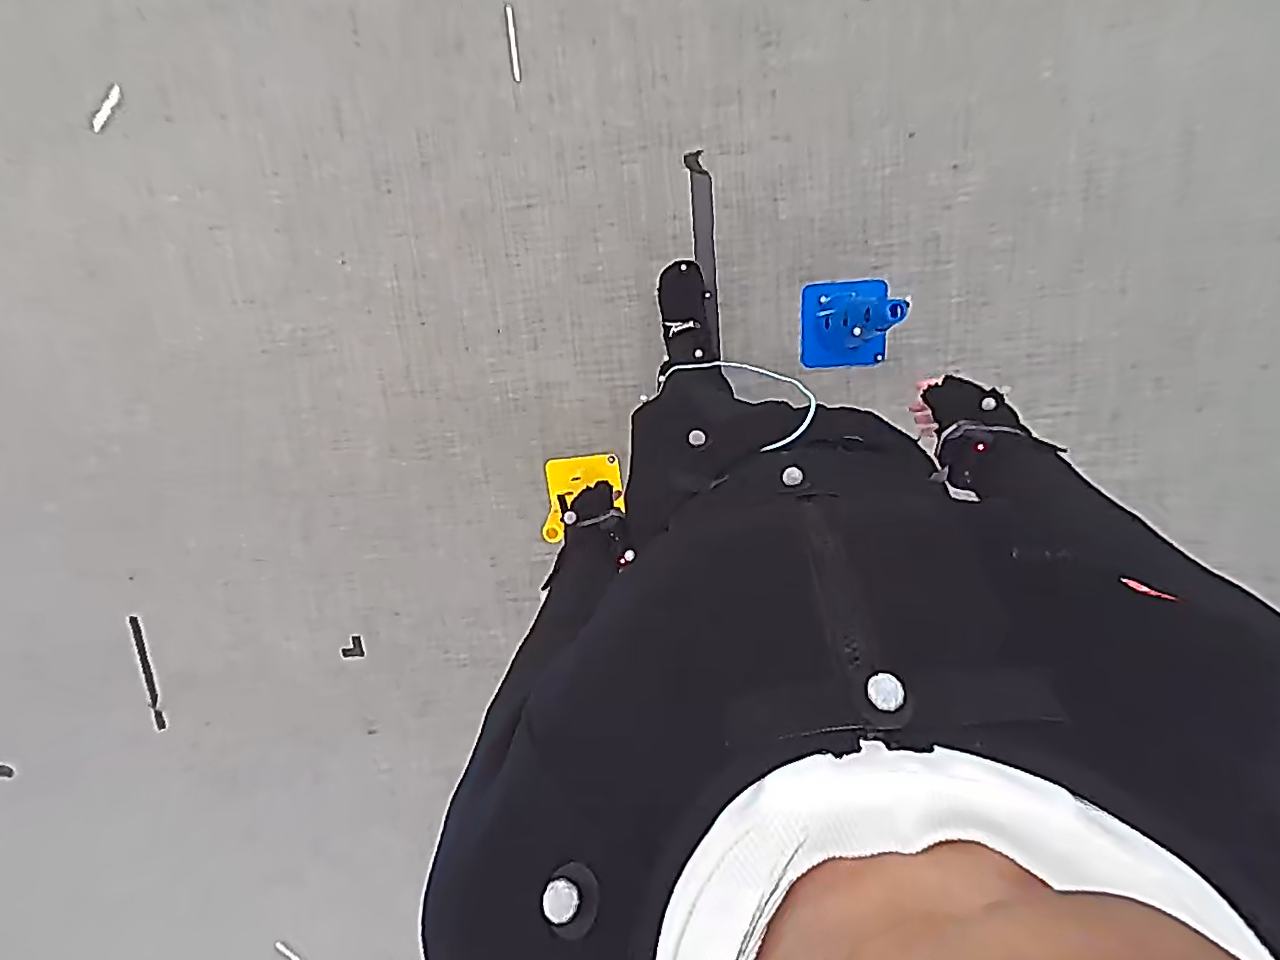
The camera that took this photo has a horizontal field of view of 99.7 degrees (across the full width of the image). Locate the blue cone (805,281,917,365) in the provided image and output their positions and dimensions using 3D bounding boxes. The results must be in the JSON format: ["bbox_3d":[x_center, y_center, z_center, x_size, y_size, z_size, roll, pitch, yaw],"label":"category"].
[{"bbox_3d":[0.485,-0.345,1.152,0.192,0.380,0.193,0,102,5],"label":"blue cone"}]
